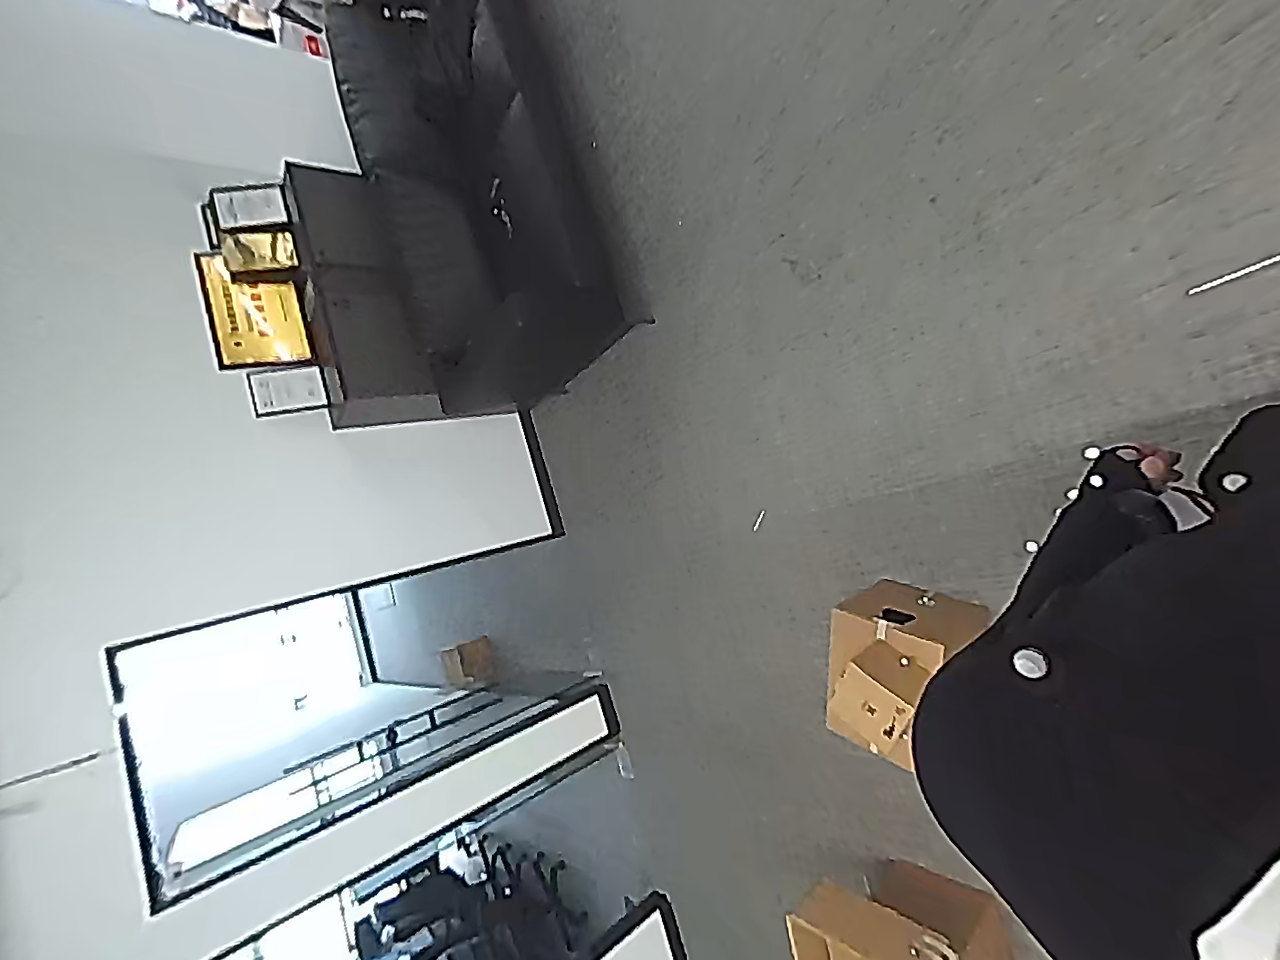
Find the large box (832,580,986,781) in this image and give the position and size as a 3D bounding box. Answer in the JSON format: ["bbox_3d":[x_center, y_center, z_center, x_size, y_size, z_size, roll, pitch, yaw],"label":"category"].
[{"bbox_3d":[0.786,0.556,1.589,0.320,0.320,0.408,12,109,49],"label":"large box"}]

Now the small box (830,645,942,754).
[{"bbox_3d":[0.629,0.549,1.386,0.179,0.176,0.168,36,125,39],"label":"small box"}]
